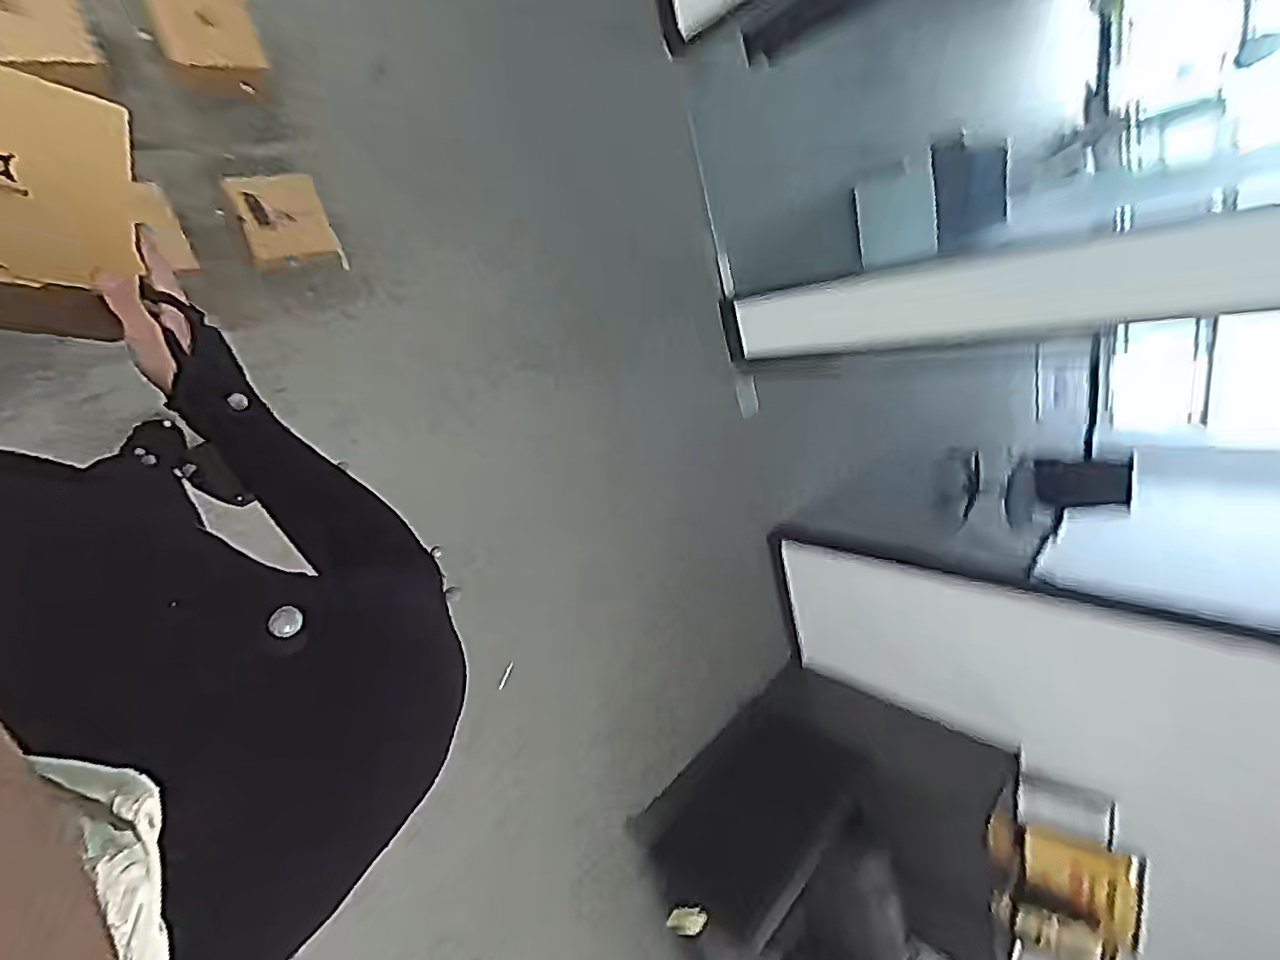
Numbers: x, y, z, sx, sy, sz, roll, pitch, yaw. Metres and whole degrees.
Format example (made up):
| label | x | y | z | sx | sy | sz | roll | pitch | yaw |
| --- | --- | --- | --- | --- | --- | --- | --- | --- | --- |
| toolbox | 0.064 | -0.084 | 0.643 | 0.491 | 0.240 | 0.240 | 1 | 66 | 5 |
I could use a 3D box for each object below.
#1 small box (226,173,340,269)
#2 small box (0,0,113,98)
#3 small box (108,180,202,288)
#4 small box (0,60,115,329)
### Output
| label | x | y | z | sx | sy | sz | roll | pitch | yaw |
| --- | --- | --- | --- | --- | --- | --- | --- | --- | --- |
| small box | -0.842 | -0.605 | 1.272 | 0.179 | 0.176 | 0.168 | -27 | 113 | -35 |
| small box | -1.125 | -0.832 | 0.997 | 0.179 | 0.176 | 0.168 | -29 | 114 | -35 |
| small box | -1.046 | -0.503 | 1.114 | 0.179 | 0.176 | 0.168 | -27 | 113 | -35 |
| small box | -0.584 | -0.247 | 0.470 | 0.168 | 0.176 | 0.179 | -6 | 92 | -48 |
